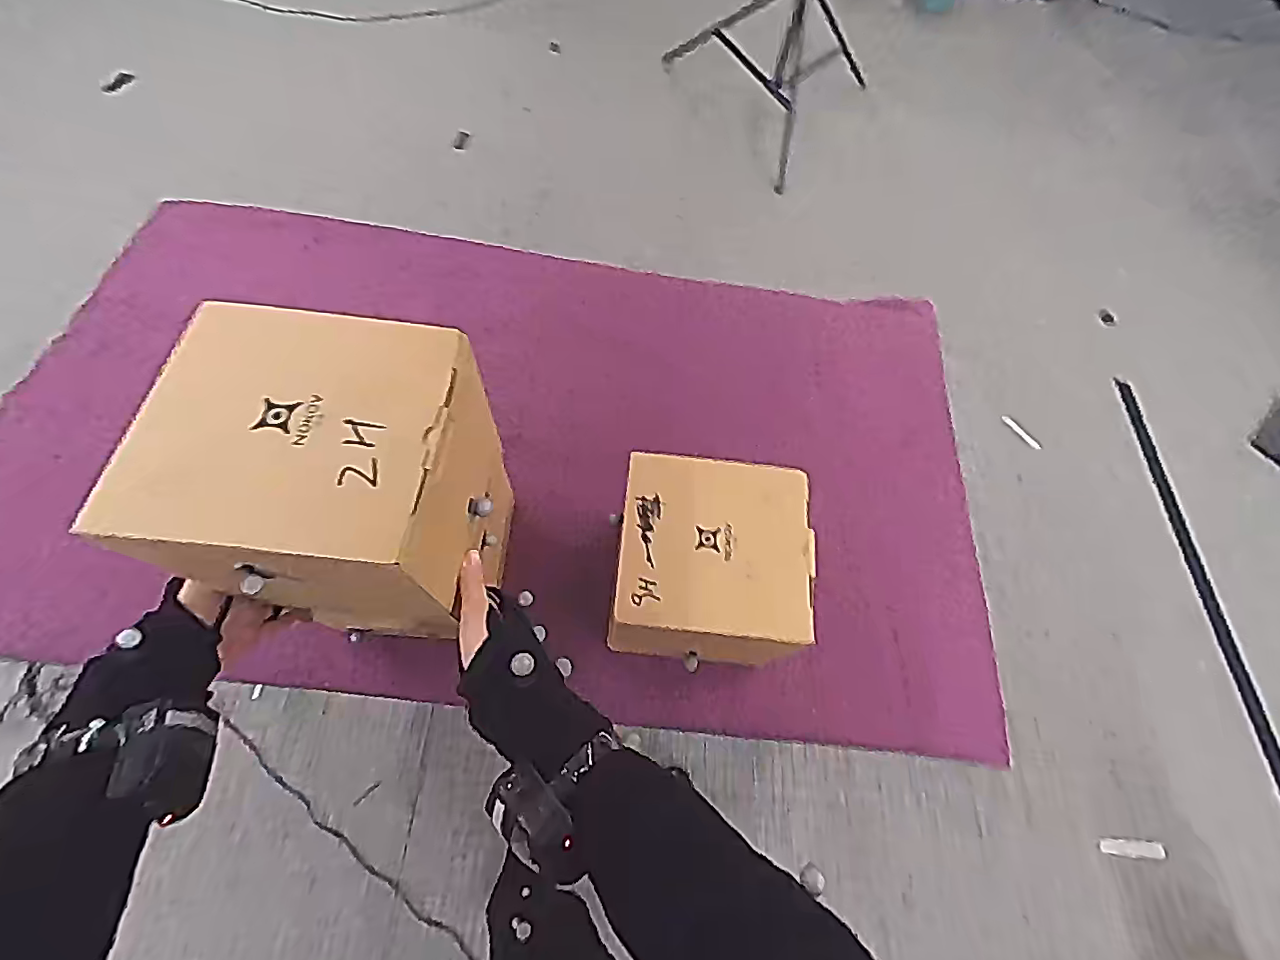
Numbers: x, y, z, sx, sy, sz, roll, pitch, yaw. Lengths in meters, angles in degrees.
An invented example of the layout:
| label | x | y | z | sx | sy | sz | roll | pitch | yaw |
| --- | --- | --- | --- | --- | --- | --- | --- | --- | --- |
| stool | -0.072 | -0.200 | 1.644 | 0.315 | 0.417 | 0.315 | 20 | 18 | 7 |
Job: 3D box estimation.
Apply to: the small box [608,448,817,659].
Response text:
| label | x | y | z | sx | sy | sz | roll | pitch | yaw |
| --- | --- | --- | --- | --- | --- | --- | --- | --- | --- |
| small box | 0.066 | 0.087 | 0.561 | 0.179 | 0.176 | 0.168 | 7 | 65 | -3 |

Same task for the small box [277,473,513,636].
| label | x | y | z | sx | sy | sz | roll | pitch | yaw |
| --- | --- | --- | --- | --- | --- | --- | --- | --- | --- |
| small box | -0.229 | 0.056 | 0.548 | 0.168 | 0.176 | 0.179 | 4 | 64 | -4 |

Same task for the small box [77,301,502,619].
| label | x | y | z | sx | sy | sz | roll | pitch | yaw |
| --- | --- | --- | --- | --- | --- | --- | --- | --- | --- |
| small box | -0.212 | -0.001 | 0.393 | 0.179 | 0.176 | 0.168 | 6 | 65 | -3 |
